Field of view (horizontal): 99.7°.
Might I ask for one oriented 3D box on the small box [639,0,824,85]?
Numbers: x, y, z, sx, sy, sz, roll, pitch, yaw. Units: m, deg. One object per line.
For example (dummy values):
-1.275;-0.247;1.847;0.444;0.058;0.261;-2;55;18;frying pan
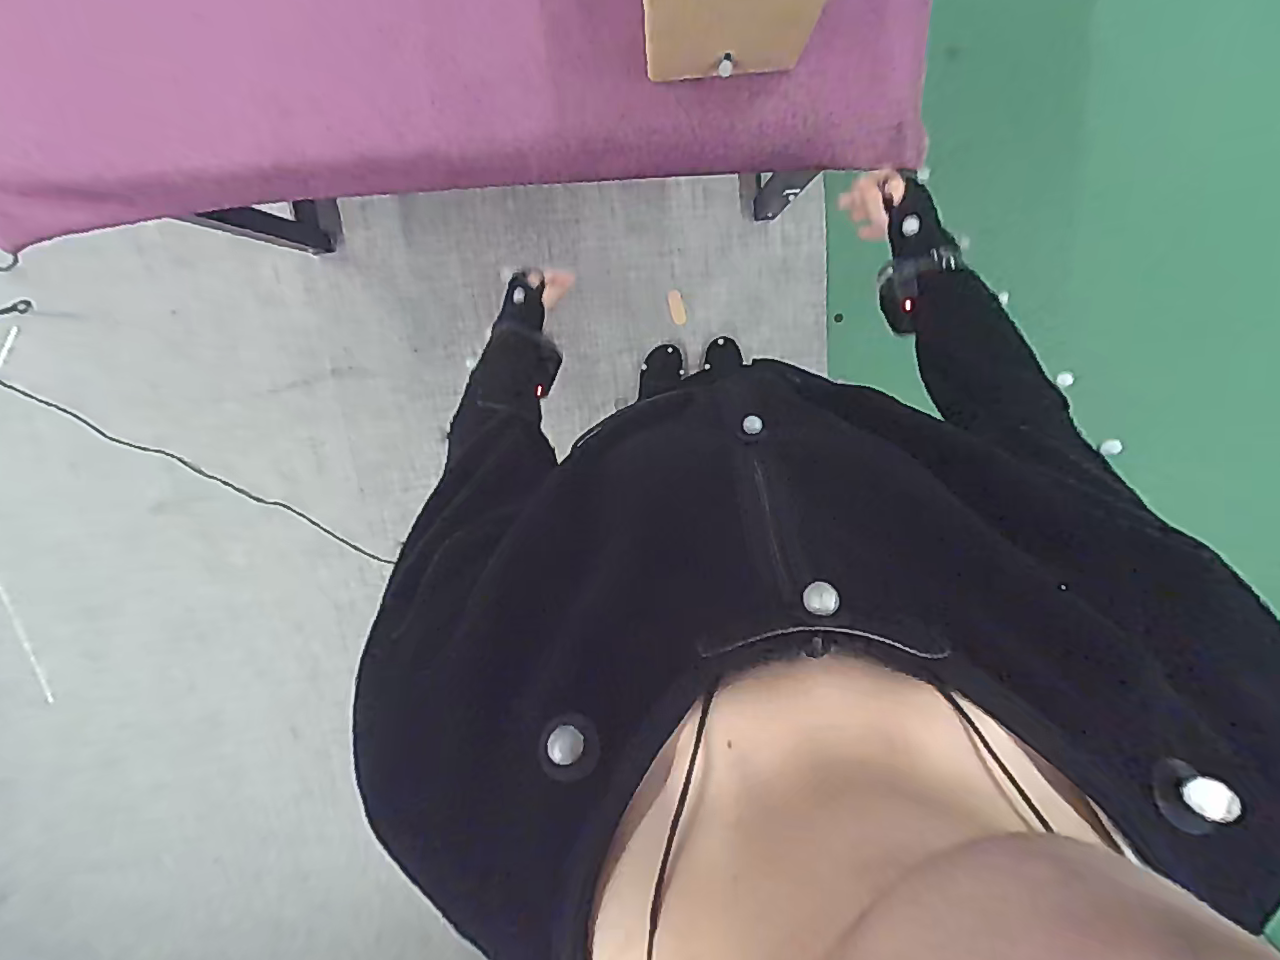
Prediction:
0.086;-0.540;0.552;0.179;0.176;0.168;-3;101;3;small box
